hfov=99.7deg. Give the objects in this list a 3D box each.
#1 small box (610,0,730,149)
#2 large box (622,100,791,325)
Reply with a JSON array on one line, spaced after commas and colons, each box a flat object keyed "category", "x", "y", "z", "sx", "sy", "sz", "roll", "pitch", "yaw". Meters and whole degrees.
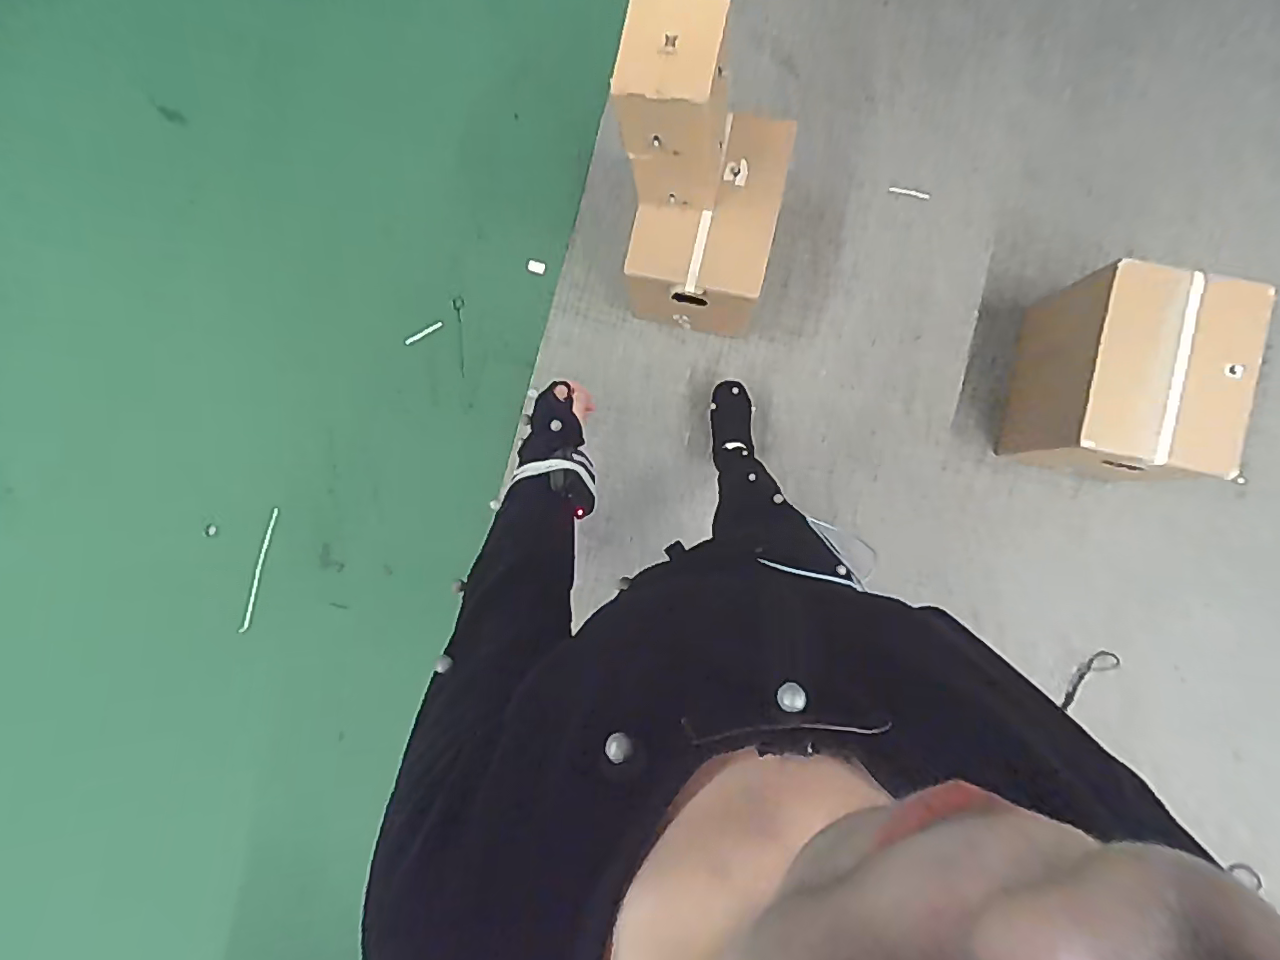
[{"category": "small box", "x": 0.057, "y": -0.731, "z": 0.956, "sx": 0.168, "sy": 0.176, "sz": 0.179, "roll": 12, "pitch": 91, "yaw": 8}, {"category": "large box", "x": 0.162, "y": -0.648, "z": 1.355, "sx": 0.320, "sy": 0.320, "sz": 0.408, "roll": 13, "pitch": 89, "yaw": 5}]
